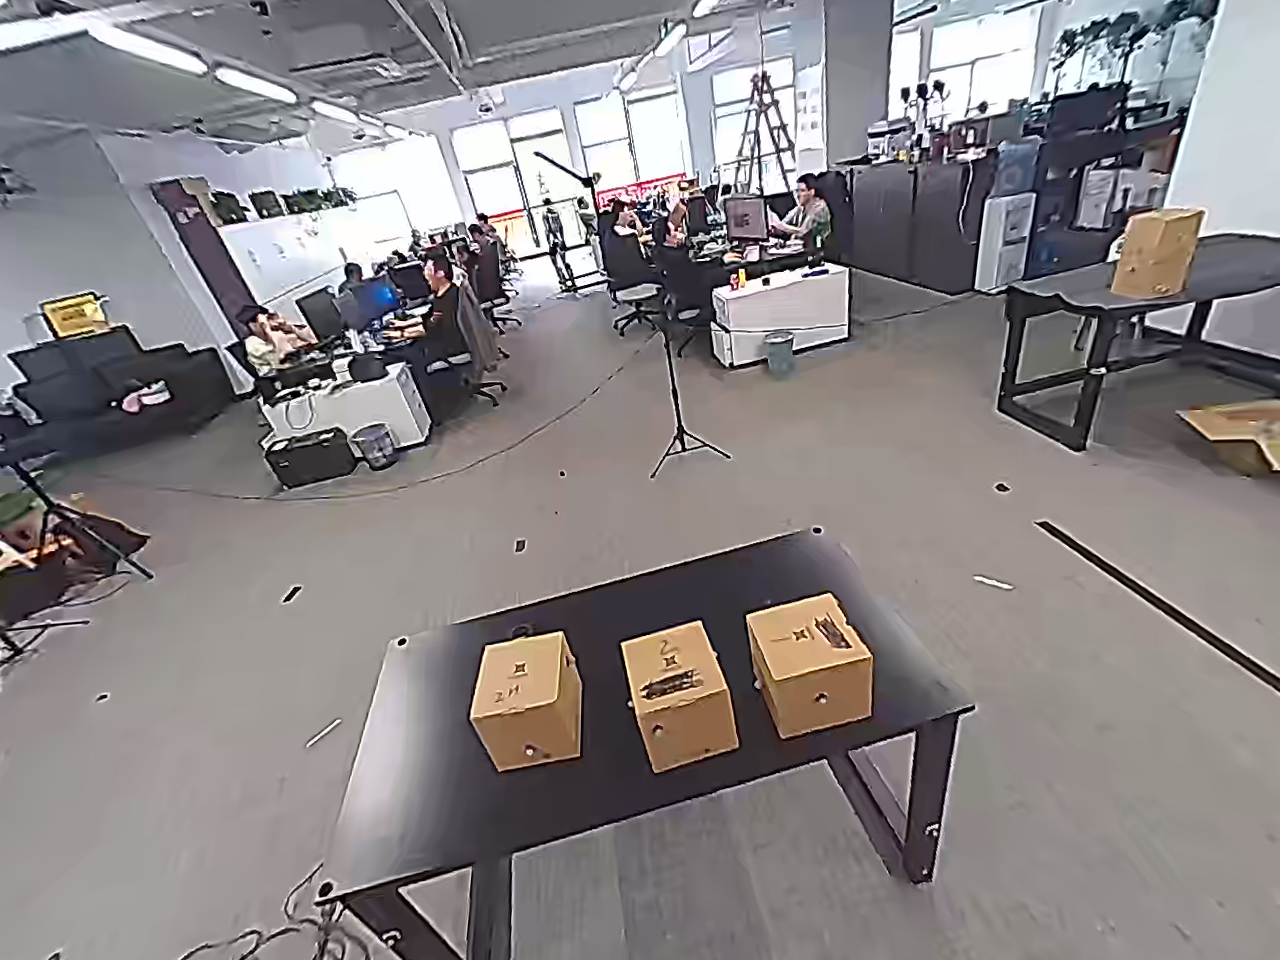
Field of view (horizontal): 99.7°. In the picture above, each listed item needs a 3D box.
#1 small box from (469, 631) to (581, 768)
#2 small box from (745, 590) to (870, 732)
[{"bbox_3d":[-0.219,0.436,1.081,0.168,0.176,0.179,-12,31,2],"label":"small box"},{"bbox_3d":[0.314,0.343,1.028,0.179,0.176,0.168,-15,30,-1],"label":"small box"}]
